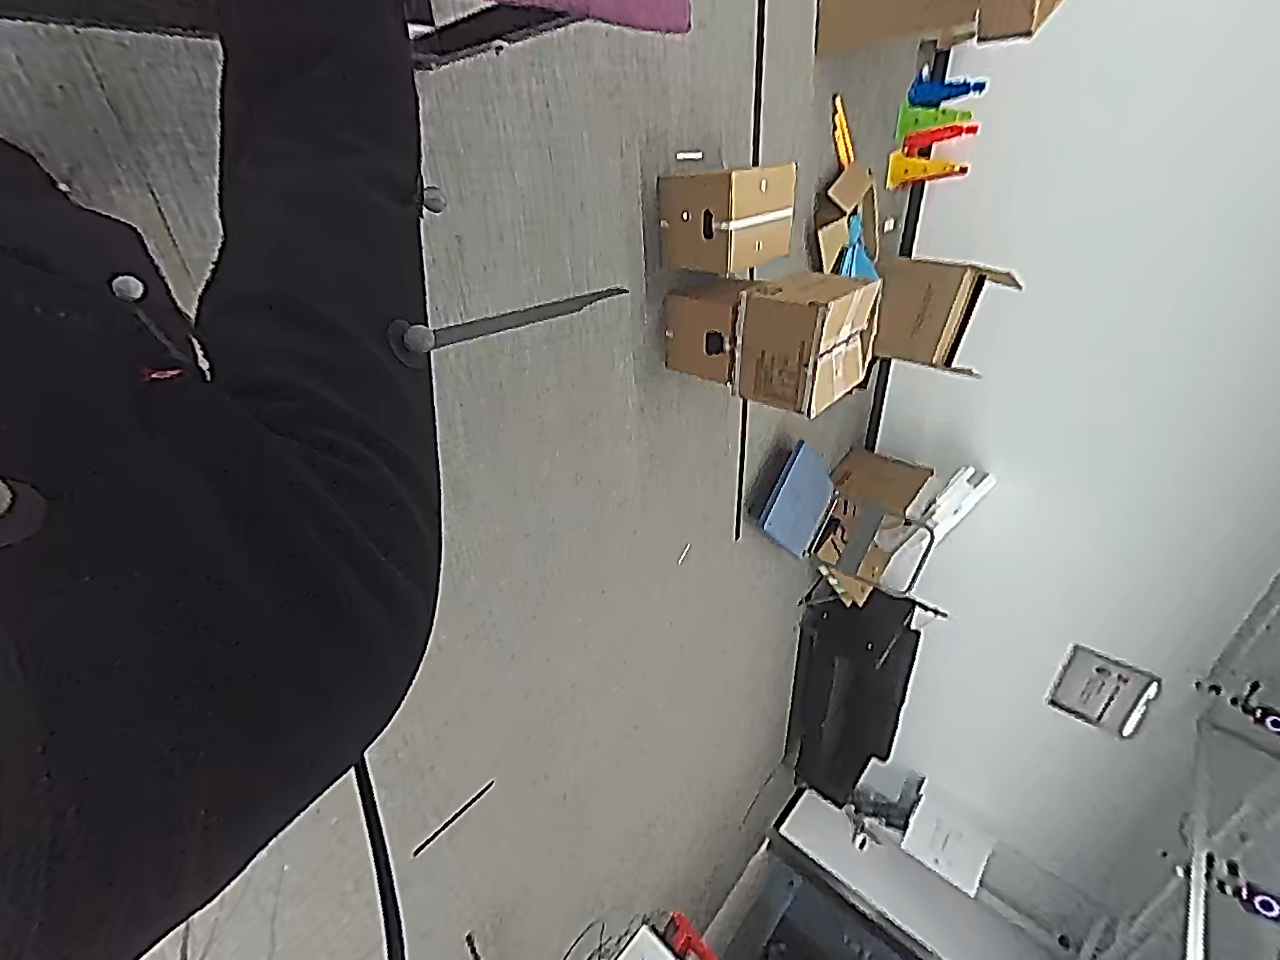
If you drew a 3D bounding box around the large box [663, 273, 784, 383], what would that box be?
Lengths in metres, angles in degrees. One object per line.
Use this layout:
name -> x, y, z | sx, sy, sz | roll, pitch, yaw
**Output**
large box -> 0.339, -0.633, 2.205 | 0.408, 0.320, 0.320 | -31, 131, -37
